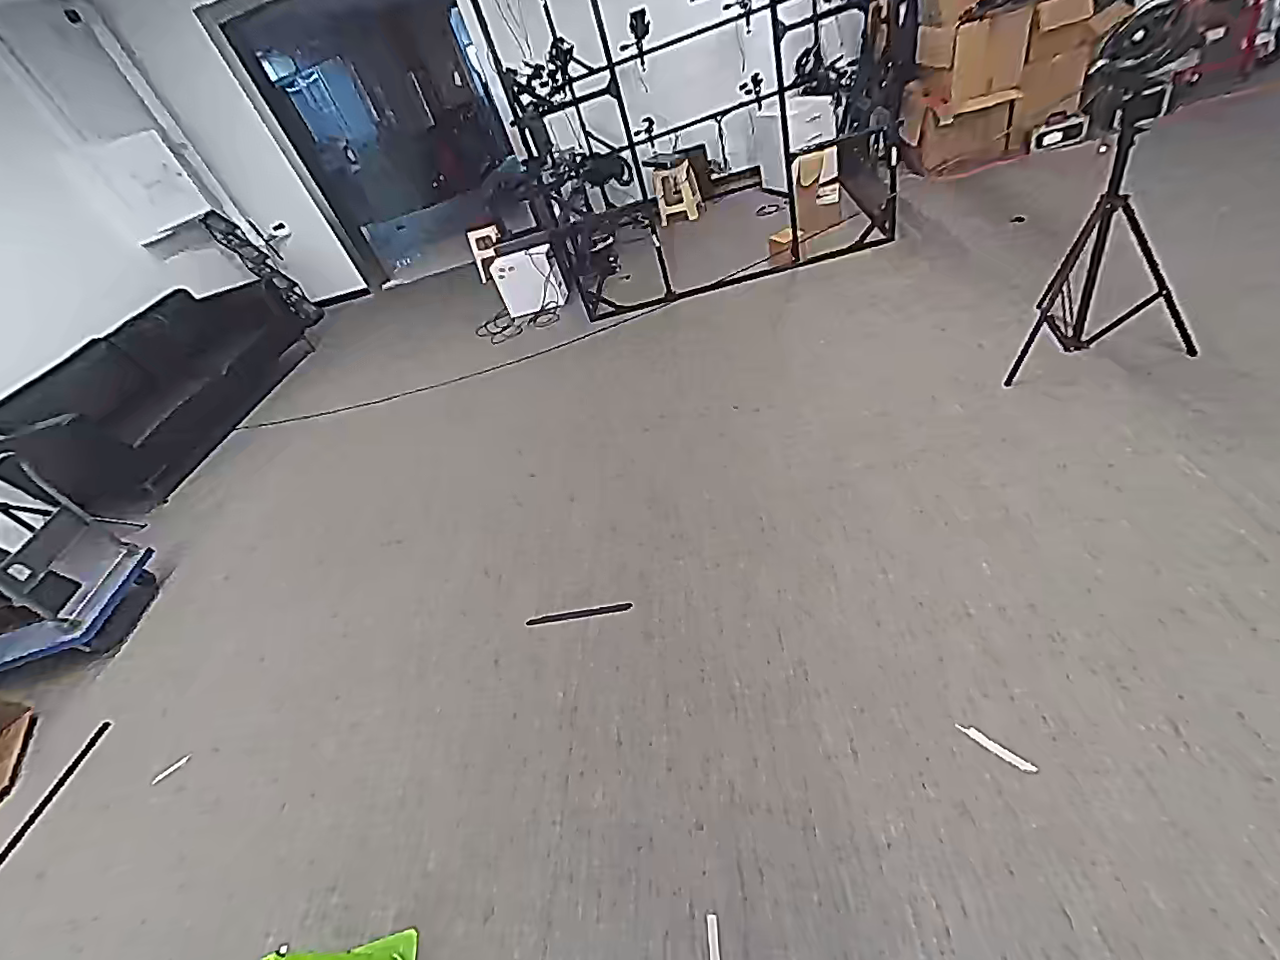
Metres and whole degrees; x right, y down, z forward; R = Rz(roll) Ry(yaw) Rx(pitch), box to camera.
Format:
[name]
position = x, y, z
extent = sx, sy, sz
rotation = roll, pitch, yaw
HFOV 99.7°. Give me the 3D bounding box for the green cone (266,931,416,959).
[green cone]
position = -0.663, 1.063, 1.136
extent = 0.202, 0.368, 0.200
rotation = -20, 39, 0
